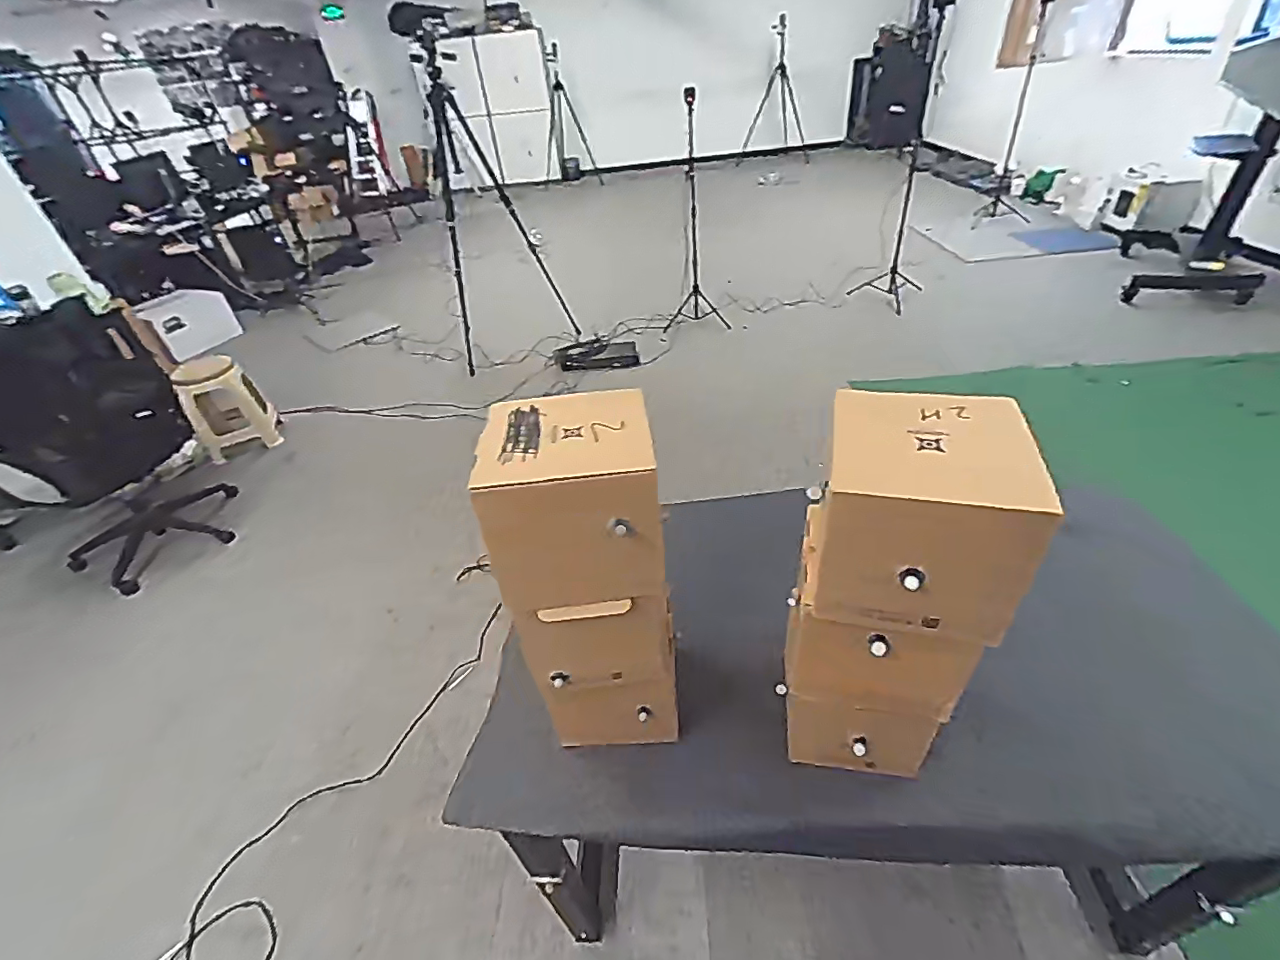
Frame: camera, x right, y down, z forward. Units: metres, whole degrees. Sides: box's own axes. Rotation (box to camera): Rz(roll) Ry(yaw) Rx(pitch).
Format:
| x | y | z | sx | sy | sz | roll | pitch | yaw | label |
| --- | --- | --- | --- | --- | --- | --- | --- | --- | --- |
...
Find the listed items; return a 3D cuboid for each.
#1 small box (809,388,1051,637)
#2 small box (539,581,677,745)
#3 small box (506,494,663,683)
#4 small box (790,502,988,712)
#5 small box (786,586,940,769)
| x | y | z | sx | sy | sz | roll | pitch | yaw | label |
| --- | --- | --- | --- | --- | --- | --- | --- | --- | --- |
| 0.260 | 0.027 | 0.529 | 0.168 | 0.176 | 0.179 | 6 | 40 | 17 | small box |
| -0.036 | 0.272 | 0.805 | 0.179 | 0.176 | 0.168 | -6 | 36 | 4 | small box |
| -0.063 | 0.144 | 0.704 | 0.168 | 0.176 | 0.179 | -7 | 36 | 0 | small box |
| 0.277 | 0.149 | 0.640 | 0.179 | 0.176 | 0.168 | 4 | 39 | 16 | small box |
| 0.292 | 0.271 | 0.747 | 0.168 | 0.176 | 0.179 | 1 | 39 | 12 | small box |
